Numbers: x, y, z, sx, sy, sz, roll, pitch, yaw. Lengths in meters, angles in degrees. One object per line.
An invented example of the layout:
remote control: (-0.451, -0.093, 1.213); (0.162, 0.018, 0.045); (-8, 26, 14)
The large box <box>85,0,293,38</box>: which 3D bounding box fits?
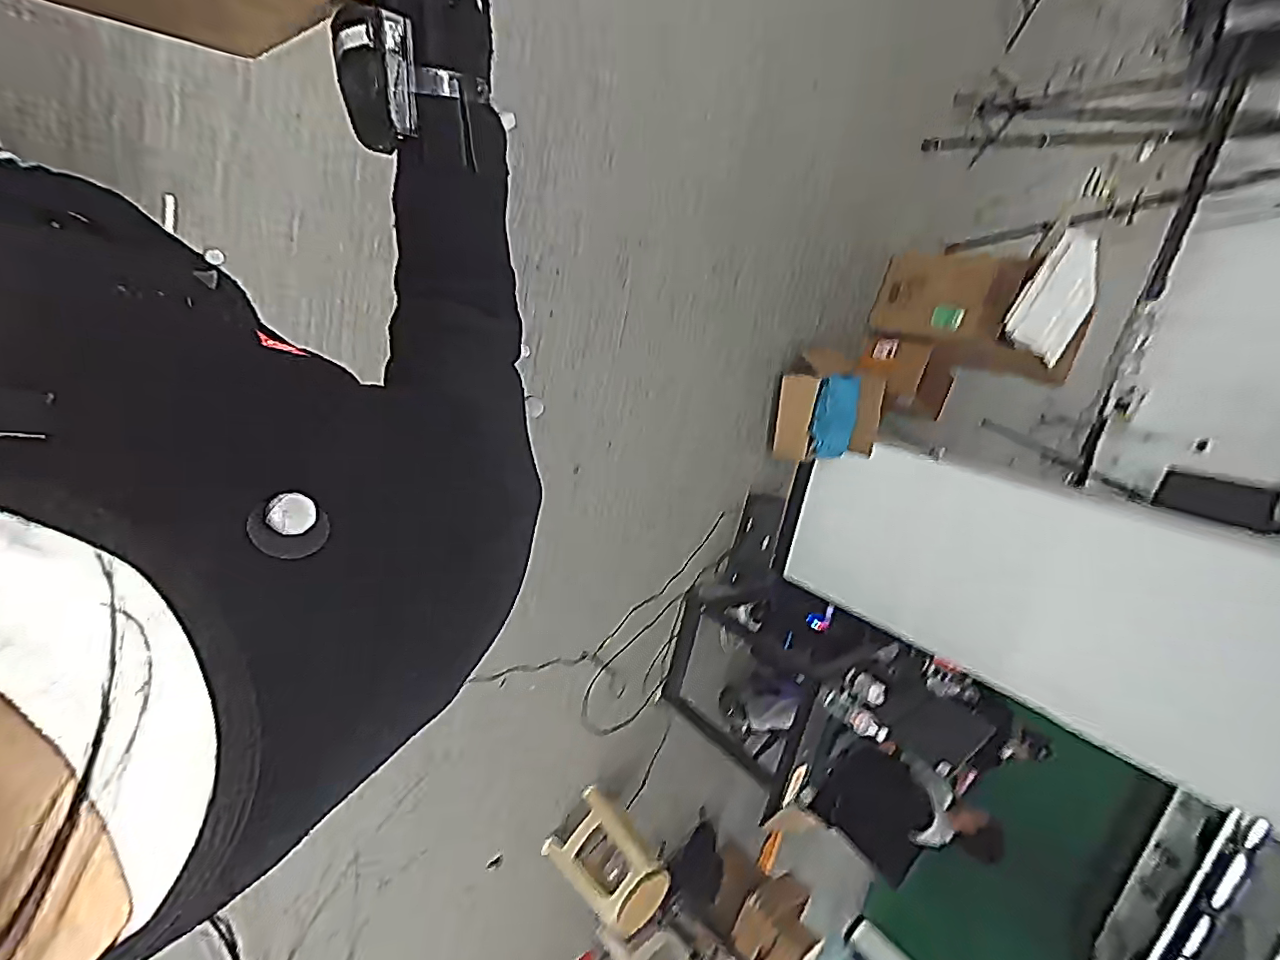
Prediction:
large box: (-0.389, -0.436, 0.206); (0.408, 0.320, 0.320); (-15, 125, -41)
